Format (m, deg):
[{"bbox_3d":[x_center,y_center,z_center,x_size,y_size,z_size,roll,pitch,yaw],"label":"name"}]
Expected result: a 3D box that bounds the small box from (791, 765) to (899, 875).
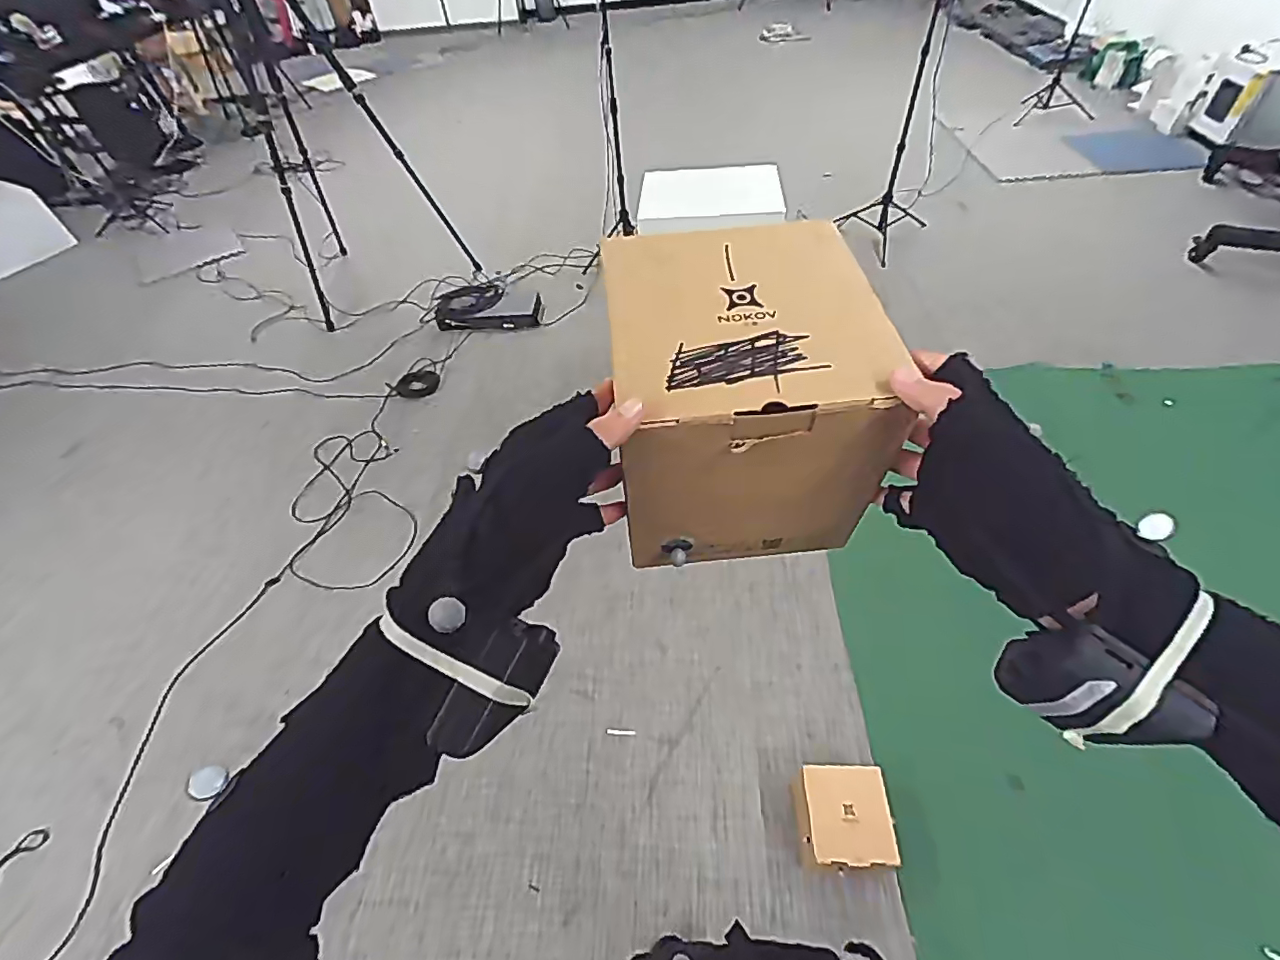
[{"bbox_3d":[0.427,0.731,1.162,0.168,0.176,0.179,-2,50,5],"label":"small box"}]
